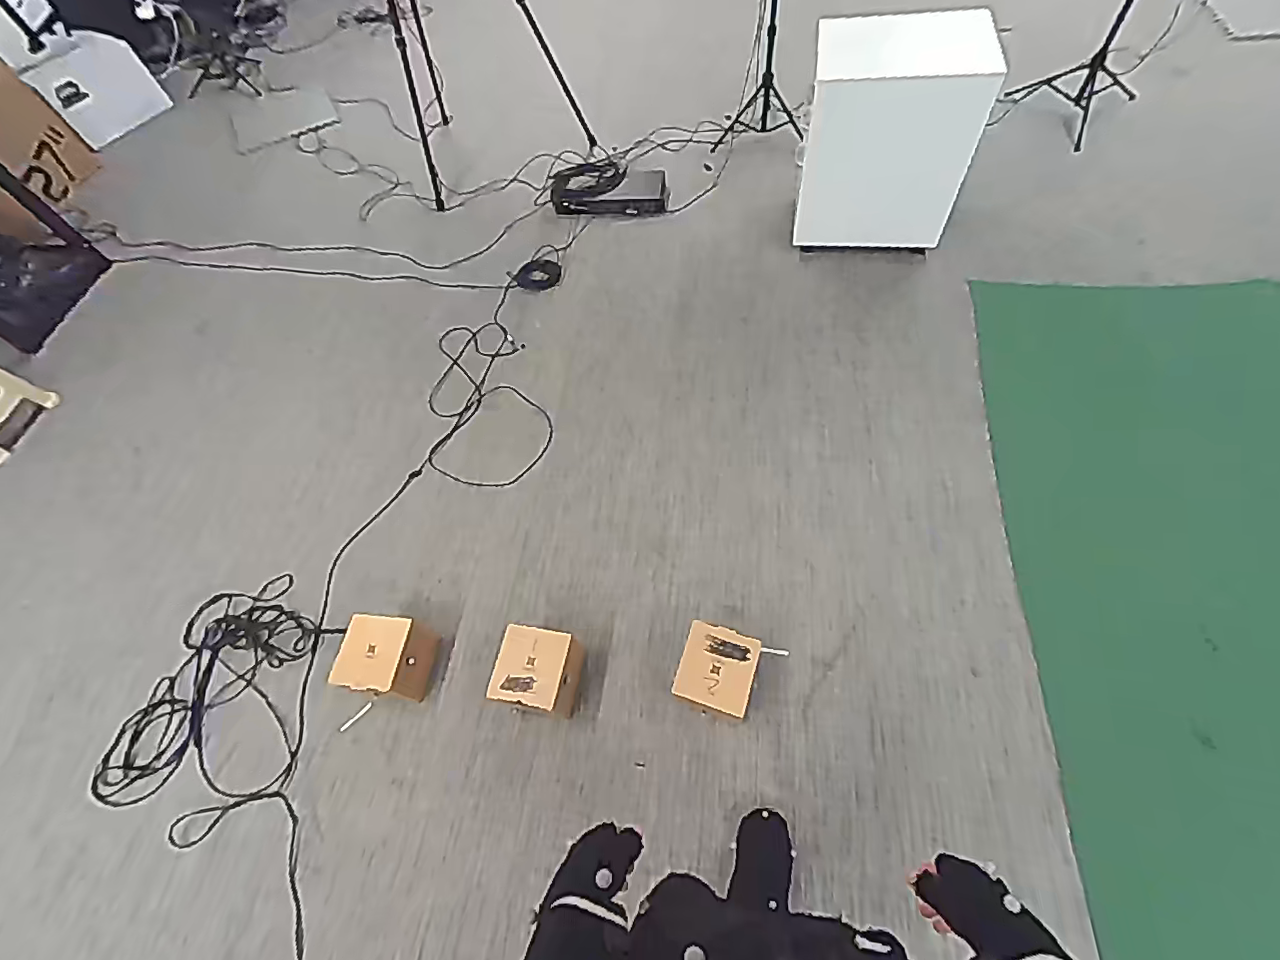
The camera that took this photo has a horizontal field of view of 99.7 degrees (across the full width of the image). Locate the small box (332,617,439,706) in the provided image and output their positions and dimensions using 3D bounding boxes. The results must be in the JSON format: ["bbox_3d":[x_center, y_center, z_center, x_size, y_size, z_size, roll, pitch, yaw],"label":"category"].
[{"bbox_3d":[-0.643,0.470,1.394,0.168,0.176,0.179,2,60,10],"label":"small box"}]

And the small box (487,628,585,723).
[{"bbox_3d":[-0.246,0.484,1.330,0.168,0.176,0.179,7,60,12],"label":"small box"}]
